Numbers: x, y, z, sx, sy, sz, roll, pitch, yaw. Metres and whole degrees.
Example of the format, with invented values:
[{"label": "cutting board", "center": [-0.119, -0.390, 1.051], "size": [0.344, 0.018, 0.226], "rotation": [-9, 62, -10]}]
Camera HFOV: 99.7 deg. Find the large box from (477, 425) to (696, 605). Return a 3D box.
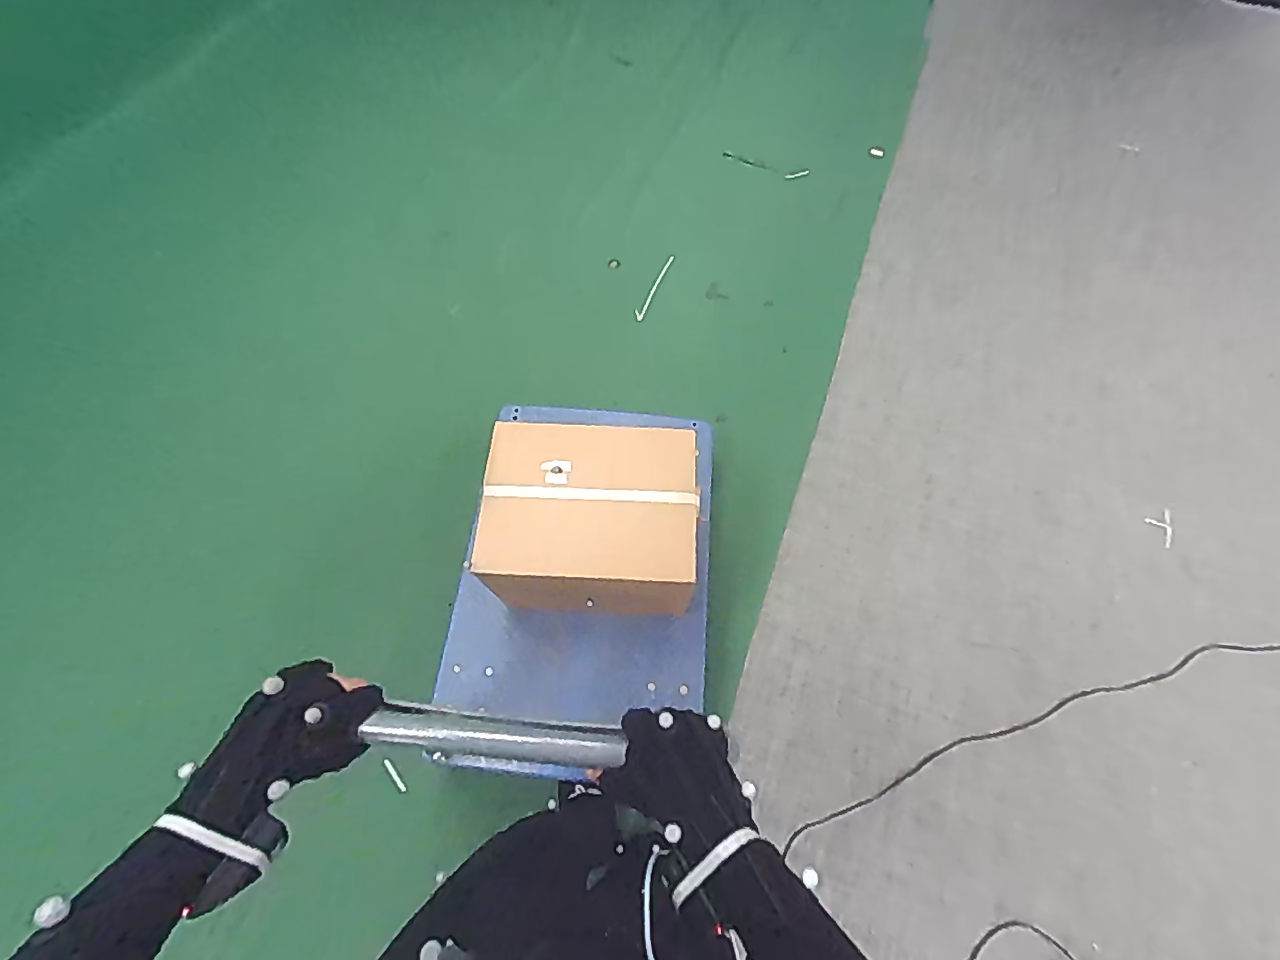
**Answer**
[{"label": "large box", "center": [-0.092, 0.089, 1.171], "size": [0.408, 0.320, 0.320], "rotation": [1, 65, 1]}]
